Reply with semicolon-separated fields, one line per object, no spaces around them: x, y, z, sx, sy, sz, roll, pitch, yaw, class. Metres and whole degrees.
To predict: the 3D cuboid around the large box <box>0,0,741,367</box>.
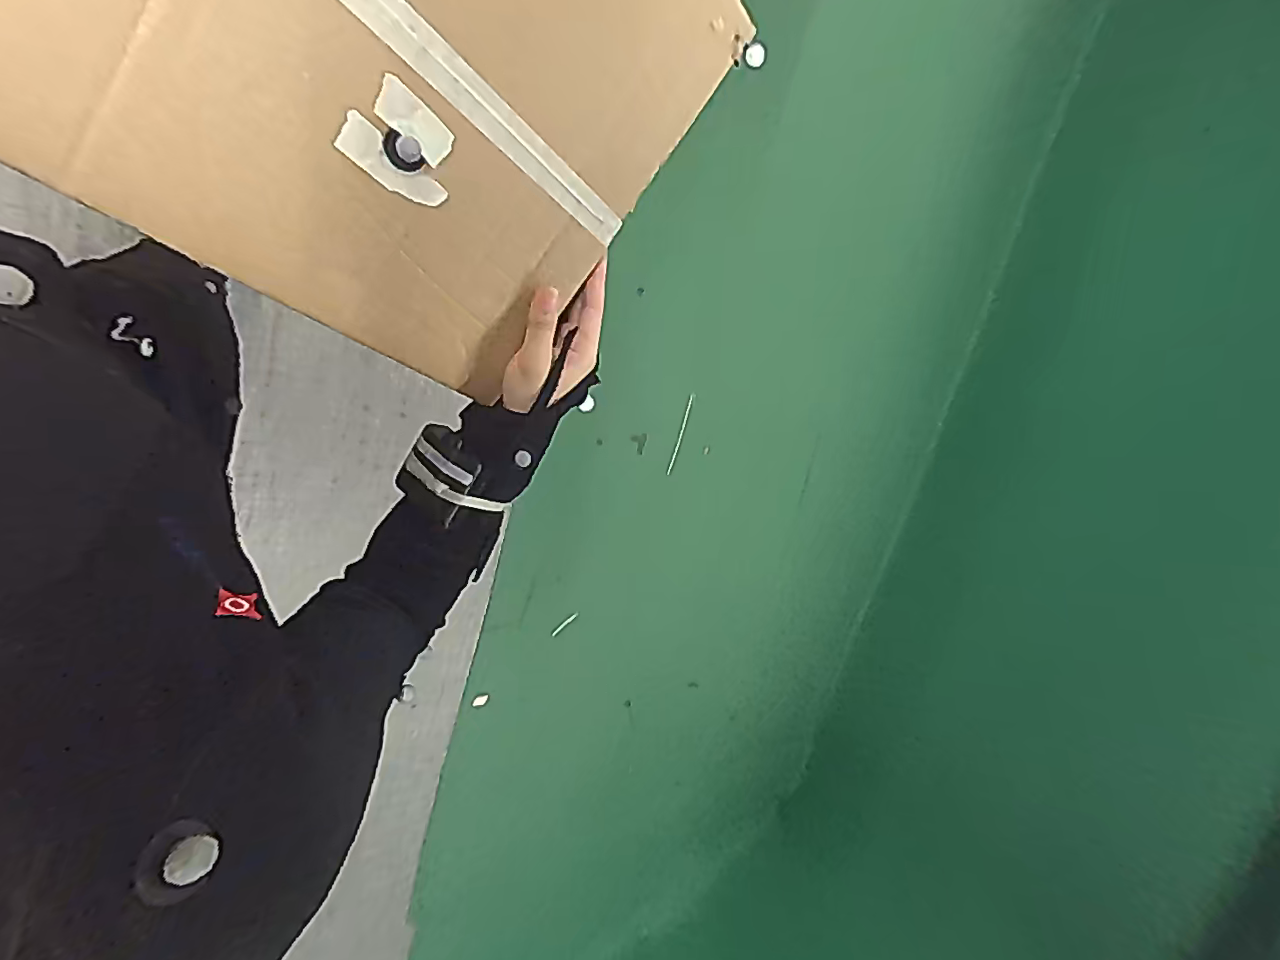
-0.220;-0.342;0.342;0.320;0.320;0.408;-51;139;12;large box
